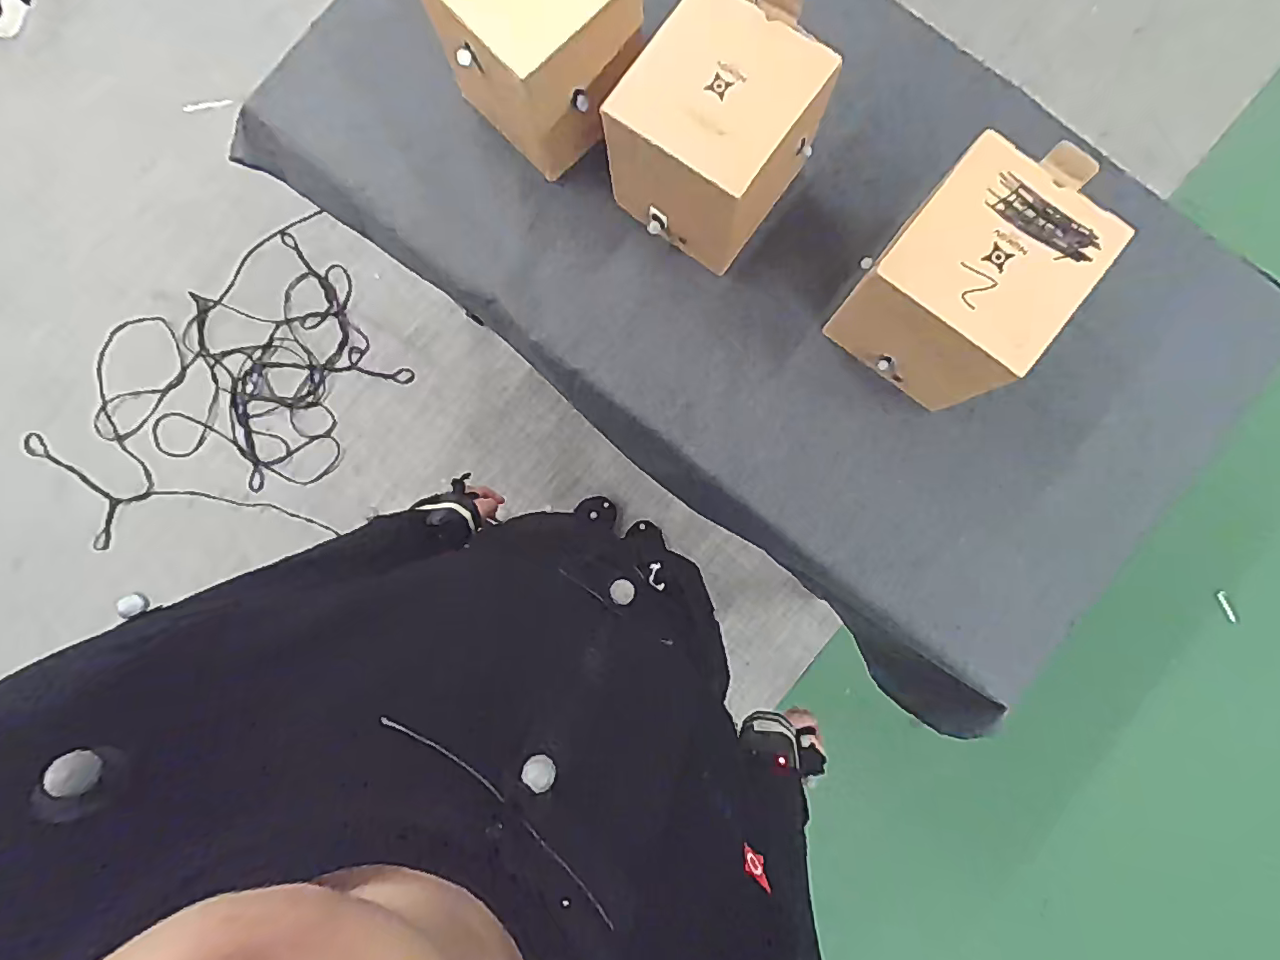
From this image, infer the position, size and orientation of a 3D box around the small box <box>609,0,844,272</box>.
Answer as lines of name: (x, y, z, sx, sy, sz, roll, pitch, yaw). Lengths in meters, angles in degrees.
small box: (0.084, -0.373, 0.597, 0.168, 0.176, 0.179, 35, 87, 5)

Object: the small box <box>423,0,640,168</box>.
small box: (-0.110, -0.497, 0.611, 0.168, 0.176, 0.179, -44, 86, -2)
